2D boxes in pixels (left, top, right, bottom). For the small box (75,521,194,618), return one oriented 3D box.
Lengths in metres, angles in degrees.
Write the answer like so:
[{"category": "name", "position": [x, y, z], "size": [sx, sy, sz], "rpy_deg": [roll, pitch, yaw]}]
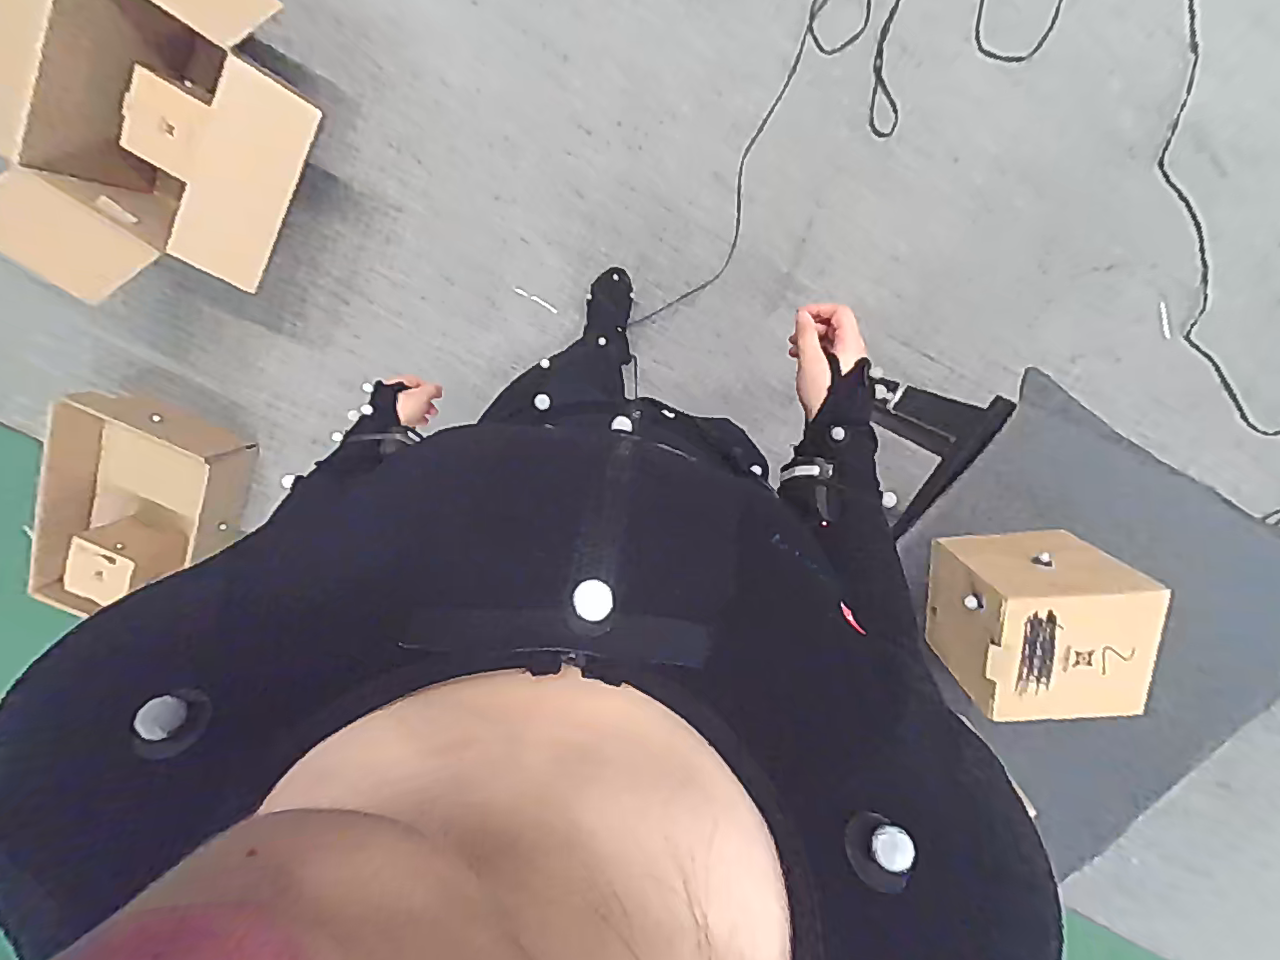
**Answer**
[{"category": "small box", "position": [-1.398, 0.243, 1.504], "size": [0.168, 0.176, 0.179], "rpy_deg": [26, 106, -4]}]
